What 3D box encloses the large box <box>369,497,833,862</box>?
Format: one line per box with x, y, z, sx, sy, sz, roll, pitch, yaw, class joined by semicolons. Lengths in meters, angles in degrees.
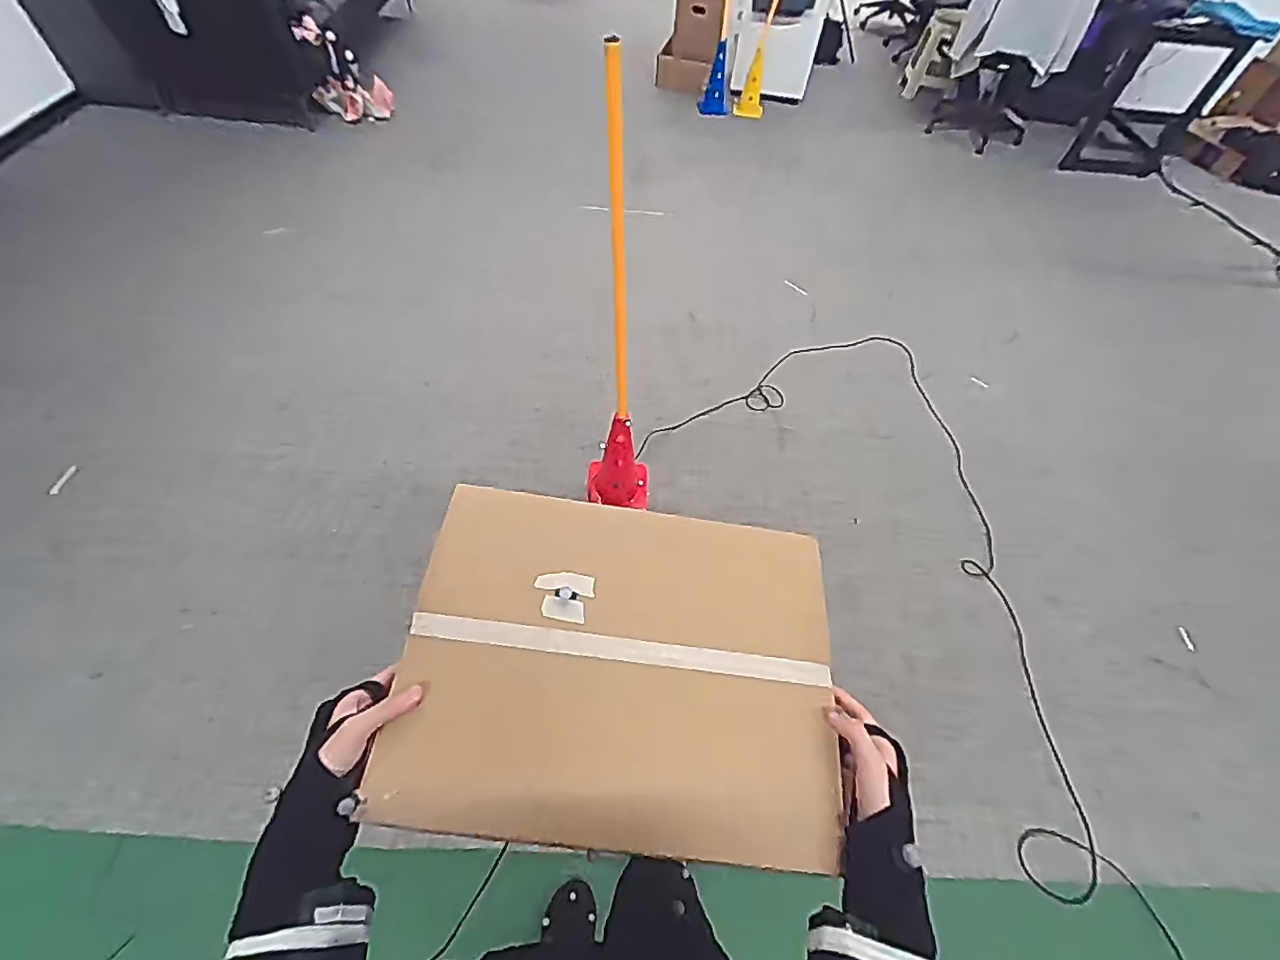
-0.031;0.248;0.660;0.408;0.320;0.320;8;57;-3;large box
